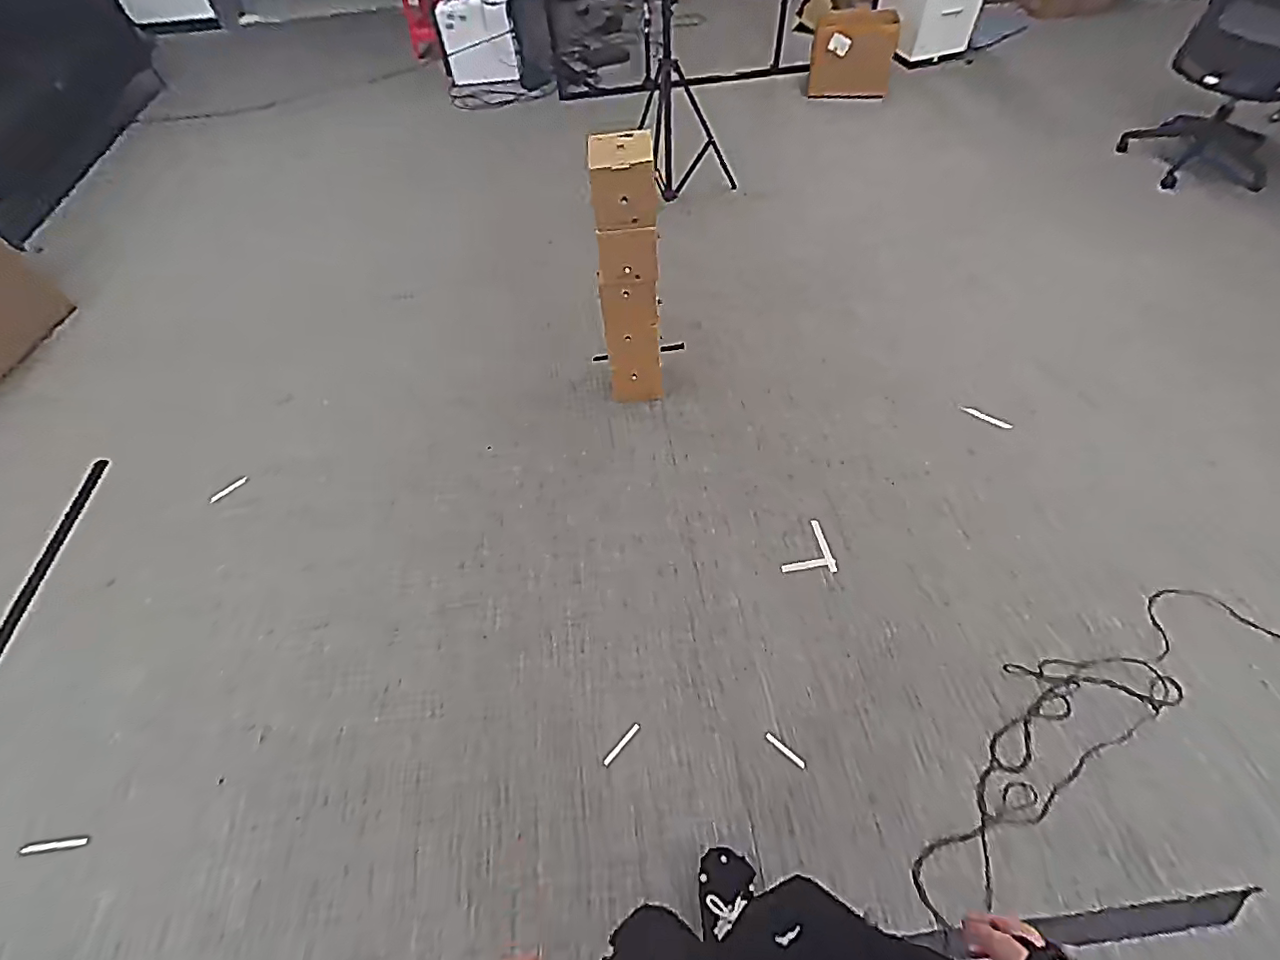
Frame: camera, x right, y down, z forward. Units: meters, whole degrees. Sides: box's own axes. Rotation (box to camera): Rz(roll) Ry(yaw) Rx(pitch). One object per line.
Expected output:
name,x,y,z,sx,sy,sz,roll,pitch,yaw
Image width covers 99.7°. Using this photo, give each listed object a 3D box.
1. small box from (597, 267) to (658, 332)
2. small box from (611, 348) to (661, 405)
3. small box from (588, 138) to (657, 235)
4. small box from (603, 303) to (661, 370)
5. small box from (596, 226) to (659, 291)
small box,-0.034,-0.587,1.716,0.179,0.176,0.168,-2,56,3
small box,-0.011,-0.388,1.973,0.179,0.176,0.168,-2,55,3
small box,-0.044,-0.778,1.449,0.168,0.176,0.179,-4,57,2
small box,-0.023,-0.489,1.844,0.179,0.176,0.168,0,56,5
small box,-0.032,-0.678,1.578,0.168,0.176,0.179,-3,57,4
